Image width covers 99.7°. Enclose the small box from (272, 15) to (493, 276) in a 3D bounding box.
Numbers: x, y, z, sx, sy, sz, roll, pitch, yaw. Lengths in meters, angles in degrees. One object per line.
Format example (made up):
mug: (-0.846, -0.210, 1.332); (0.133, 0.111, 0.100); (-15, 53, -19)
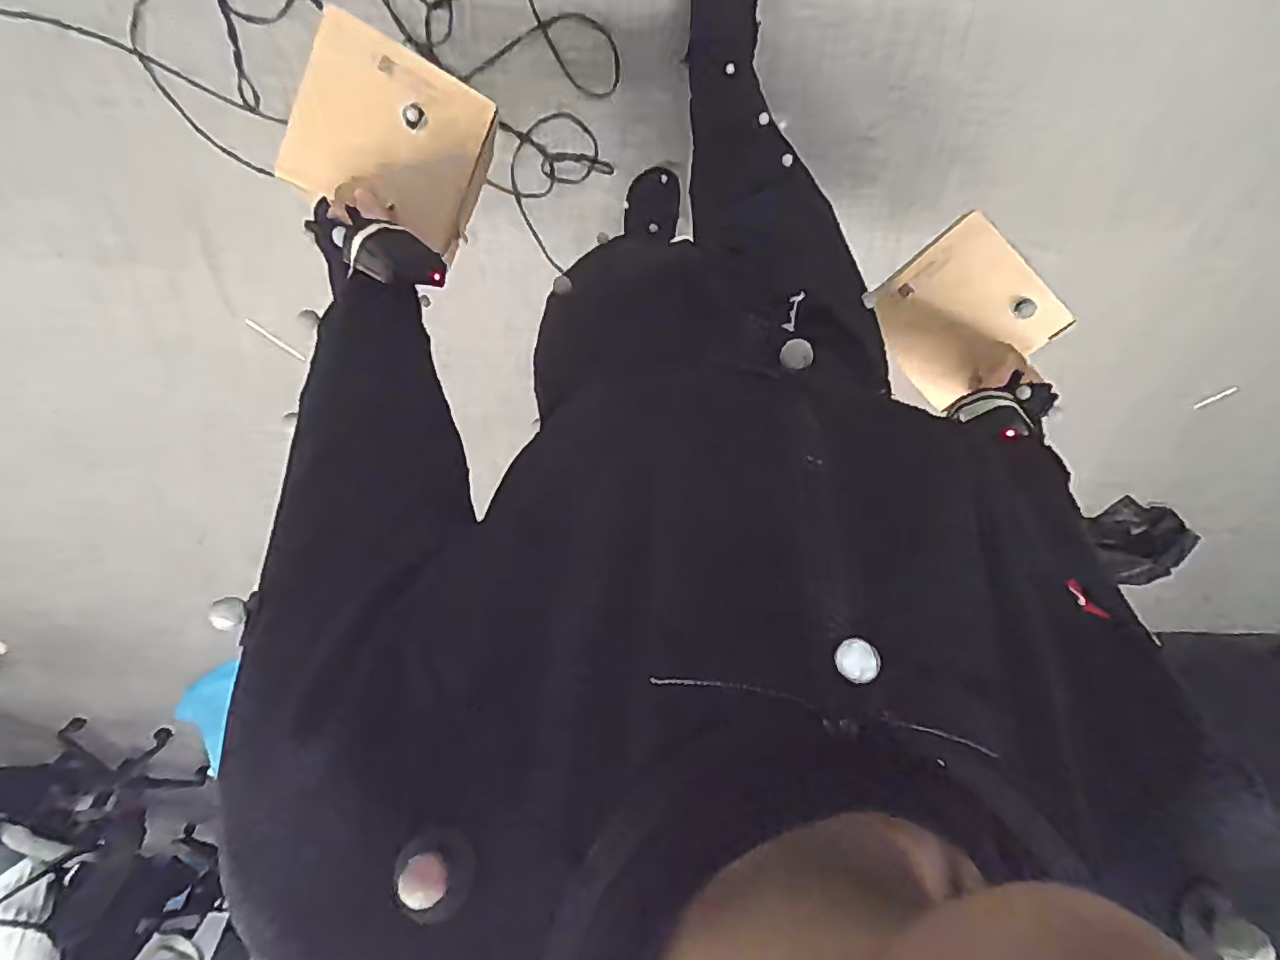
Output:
small box: (-0.276, -0.358, 0.617); (0.168, 0.179, 0.176); (20, 97, -20)
